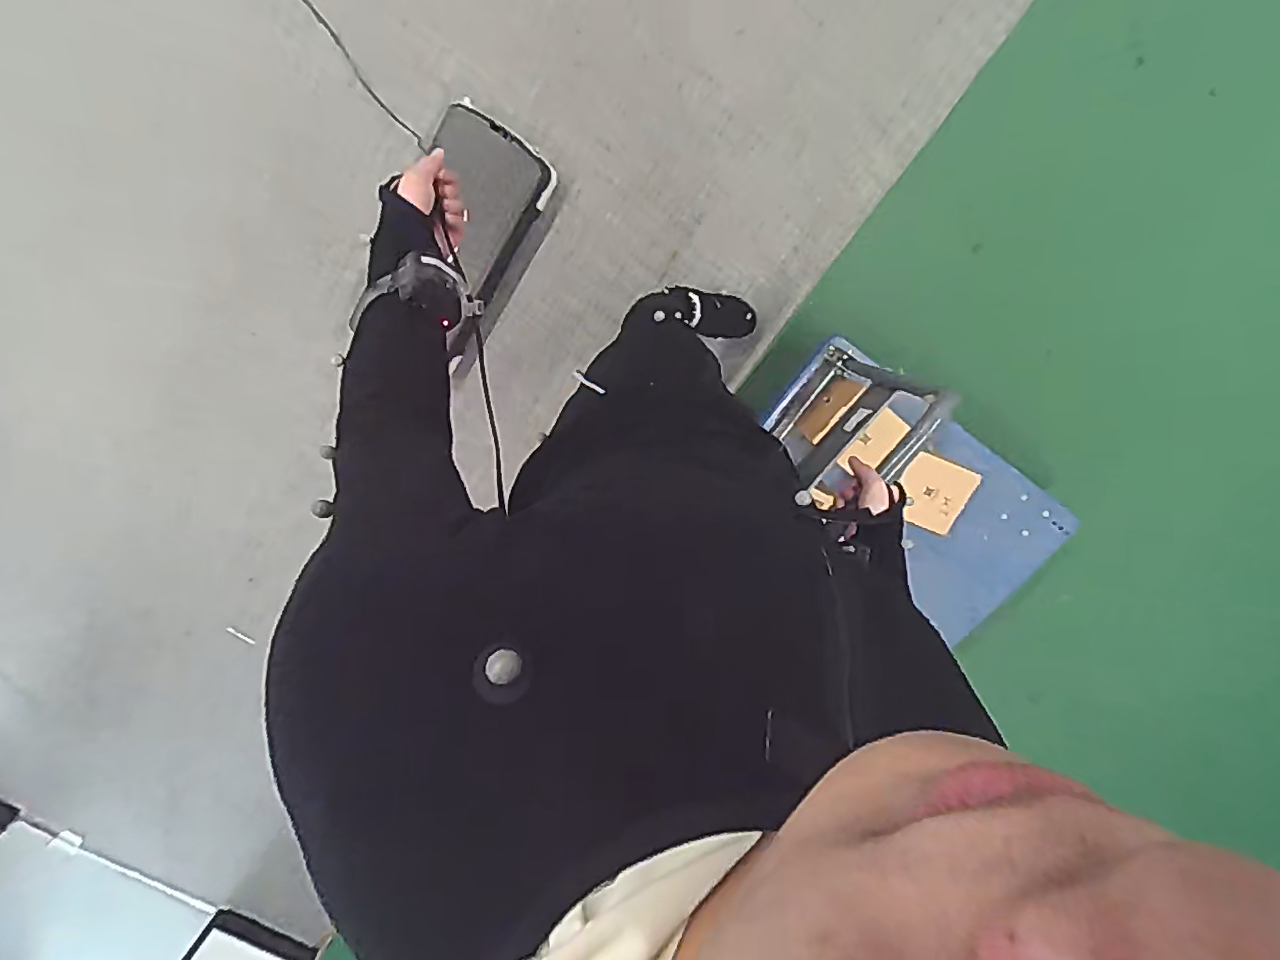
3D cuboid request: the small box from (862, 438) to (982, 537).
[{"bbox_3d":[0.681,0.010,1.332,0.179,0.176,0.168,22,109,-4],"label":"small box"}]
